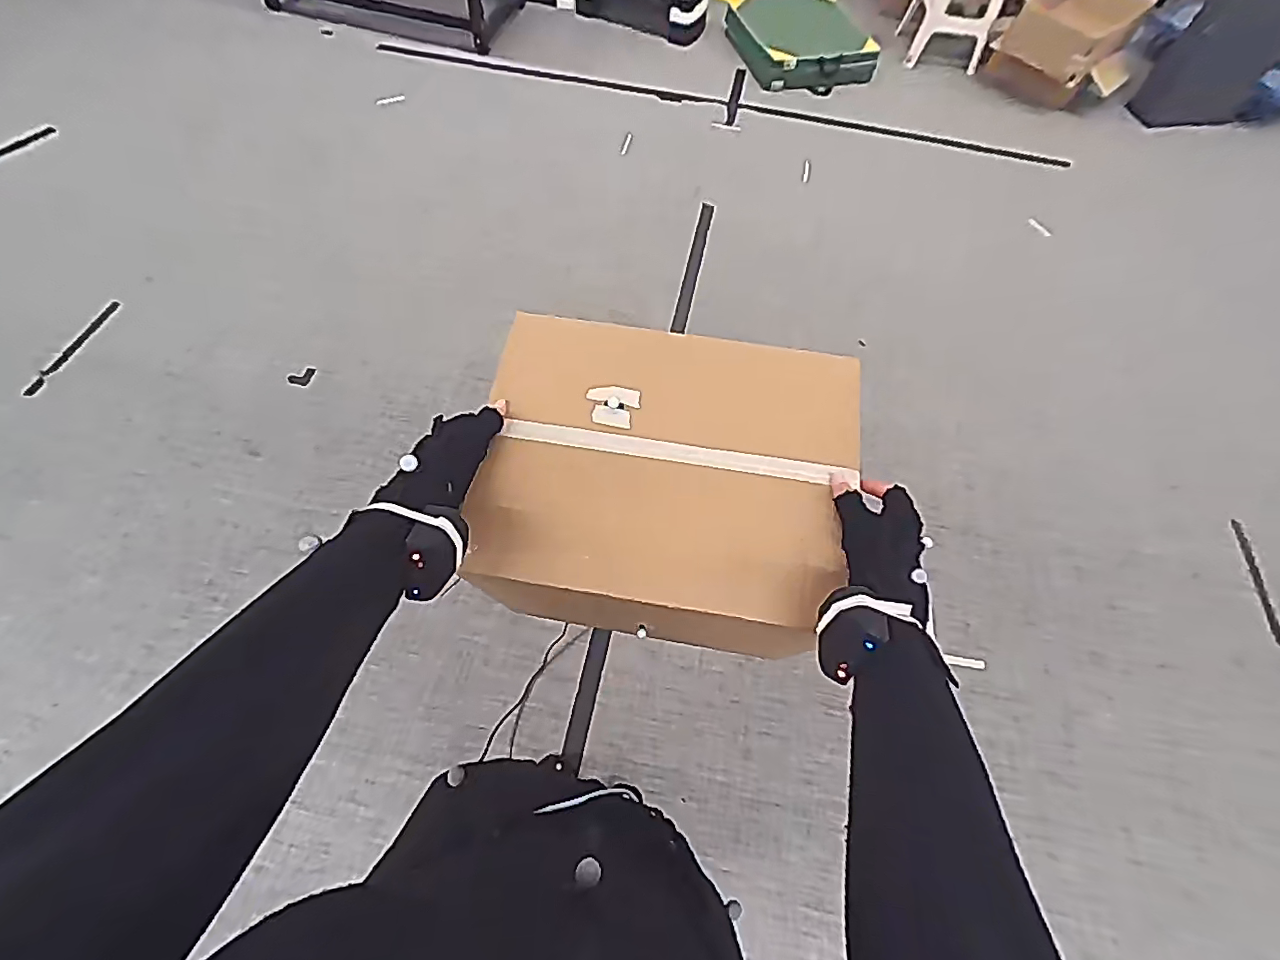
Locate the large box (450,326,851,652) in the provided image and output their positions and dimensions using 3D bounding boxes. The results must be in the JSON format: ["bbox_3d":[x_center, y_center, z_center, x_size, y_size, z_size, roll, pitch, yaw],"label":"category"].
[{"bbox_3d":[0.031,0.034,0.723,0.408,0.320,0.320,9,67,5],"label":"large box"}]
